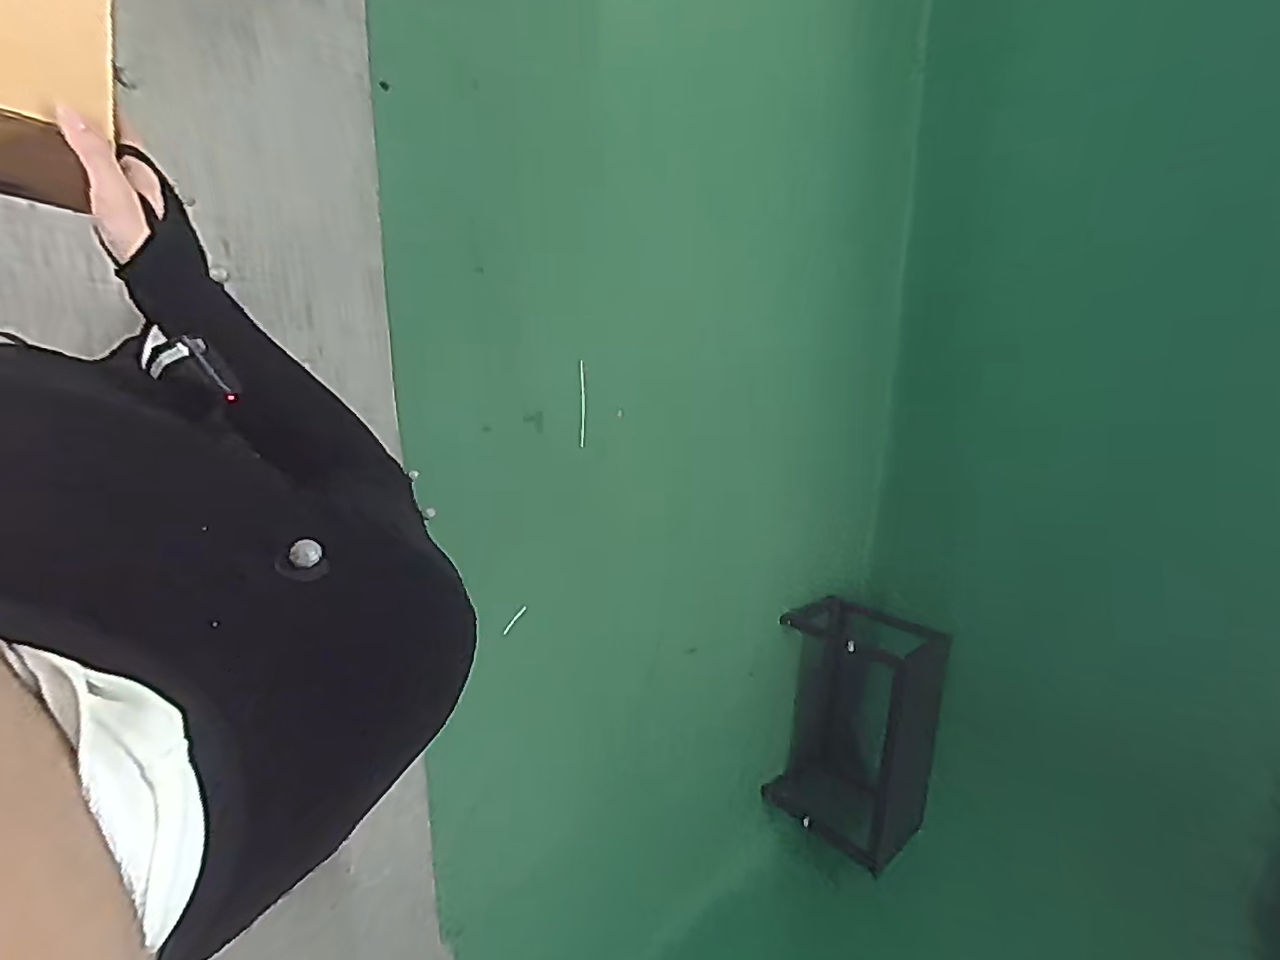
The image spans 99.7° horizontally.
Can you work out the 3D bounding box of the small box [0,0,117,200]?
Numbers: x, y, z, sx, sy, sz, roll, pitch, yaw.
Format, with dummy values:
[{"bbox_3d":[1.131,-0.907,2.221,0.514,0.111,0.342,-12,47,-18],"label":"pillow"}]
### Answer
[{"bbox_3d":[-0.521,-0.354,0.415,0.168,0.176,0.179,-1,93,-46],"label":"small box"}]
